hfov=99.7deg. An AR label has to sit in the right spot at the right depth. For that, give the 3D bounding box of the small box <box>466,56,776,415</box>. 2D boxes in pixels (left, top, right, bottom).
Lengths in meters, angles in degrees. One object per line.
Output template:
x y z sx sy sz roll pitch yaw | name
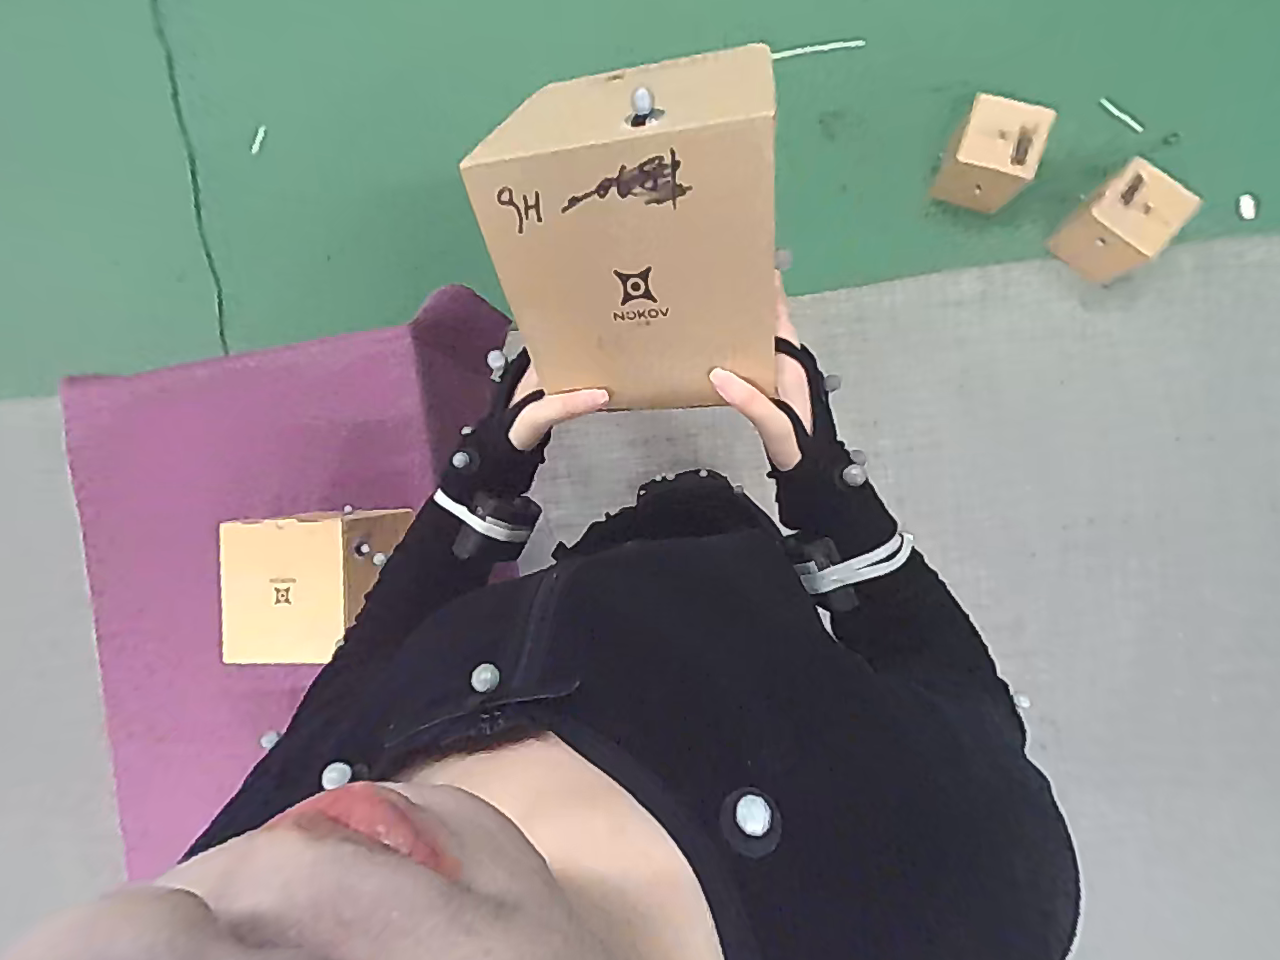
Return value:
0.010 -0.166 0.387 0.168 0.179 0.176 0 47 13 | small box

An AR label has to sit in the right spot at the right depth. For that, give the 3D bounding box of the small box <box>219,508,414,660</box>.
-0.429 0.132 0.741 0.168 0.176 0.179 -2 89 7 | small box

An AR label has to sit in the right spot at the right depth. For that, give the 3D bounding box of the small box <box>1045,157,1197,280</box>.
1.134 -0.614 1.295 0.179 0.176 0.168 40 94 4 | small box

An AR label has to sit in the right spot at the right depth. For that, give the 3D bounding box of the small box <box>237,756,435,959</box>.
-0.400 0.496 0.735 0.168 0.176 0.179 -6 89 7 | small box
